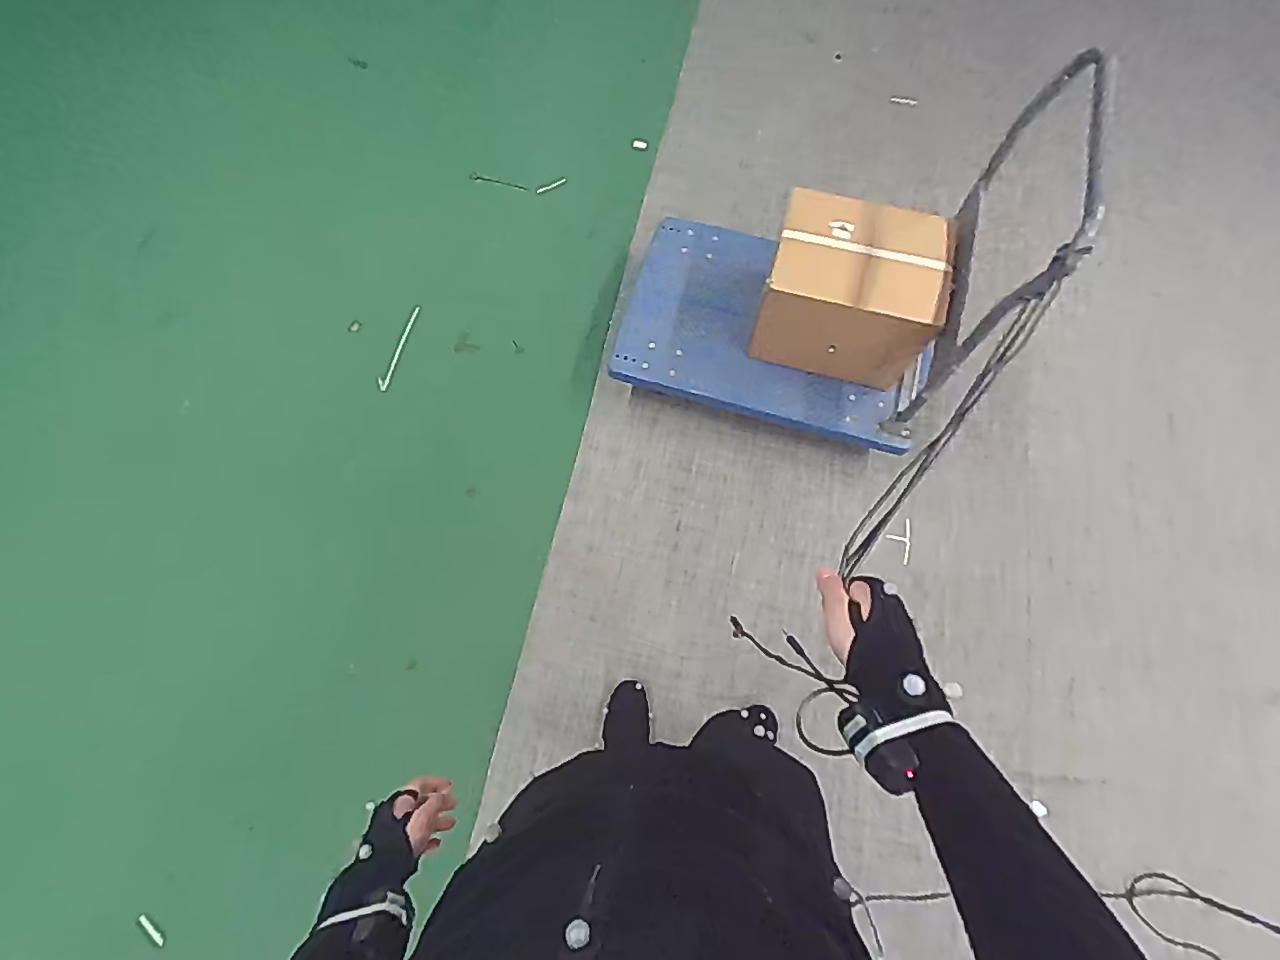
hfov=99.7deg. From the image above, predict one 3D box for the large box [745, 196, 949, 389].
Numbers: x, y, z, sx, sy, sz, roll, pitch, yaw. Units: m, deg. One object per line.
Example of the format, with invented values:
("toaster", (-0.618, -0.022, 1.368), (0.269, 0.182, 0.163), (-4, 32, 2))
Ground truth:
("large box", (0.521, -0.476, 1.419), (0.408, 0.320, 0.320), (14, 72, 7))
